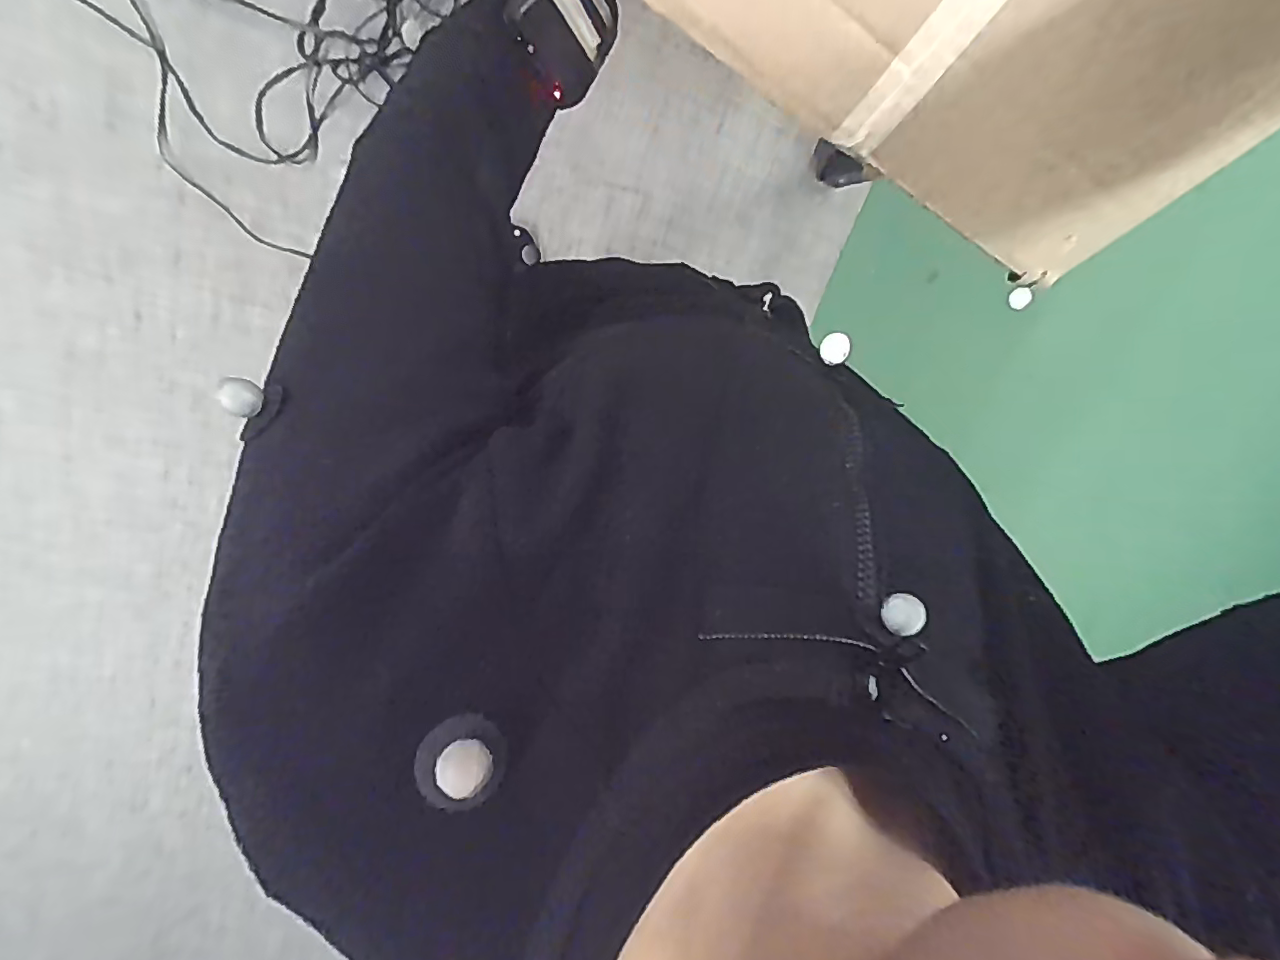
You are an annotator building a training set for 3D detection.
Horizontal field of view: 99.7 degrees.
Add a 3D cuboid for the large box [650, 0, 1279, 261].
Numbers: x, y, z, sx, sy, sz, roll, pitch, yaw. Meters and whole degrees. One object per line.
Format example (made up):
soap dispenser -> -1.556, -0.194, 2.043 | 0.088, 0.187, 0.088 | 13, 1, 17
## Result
large box -> 0.208, -0.391, 0.203 | 0.320, 0.320, 0.408 | 20, 145, -21
